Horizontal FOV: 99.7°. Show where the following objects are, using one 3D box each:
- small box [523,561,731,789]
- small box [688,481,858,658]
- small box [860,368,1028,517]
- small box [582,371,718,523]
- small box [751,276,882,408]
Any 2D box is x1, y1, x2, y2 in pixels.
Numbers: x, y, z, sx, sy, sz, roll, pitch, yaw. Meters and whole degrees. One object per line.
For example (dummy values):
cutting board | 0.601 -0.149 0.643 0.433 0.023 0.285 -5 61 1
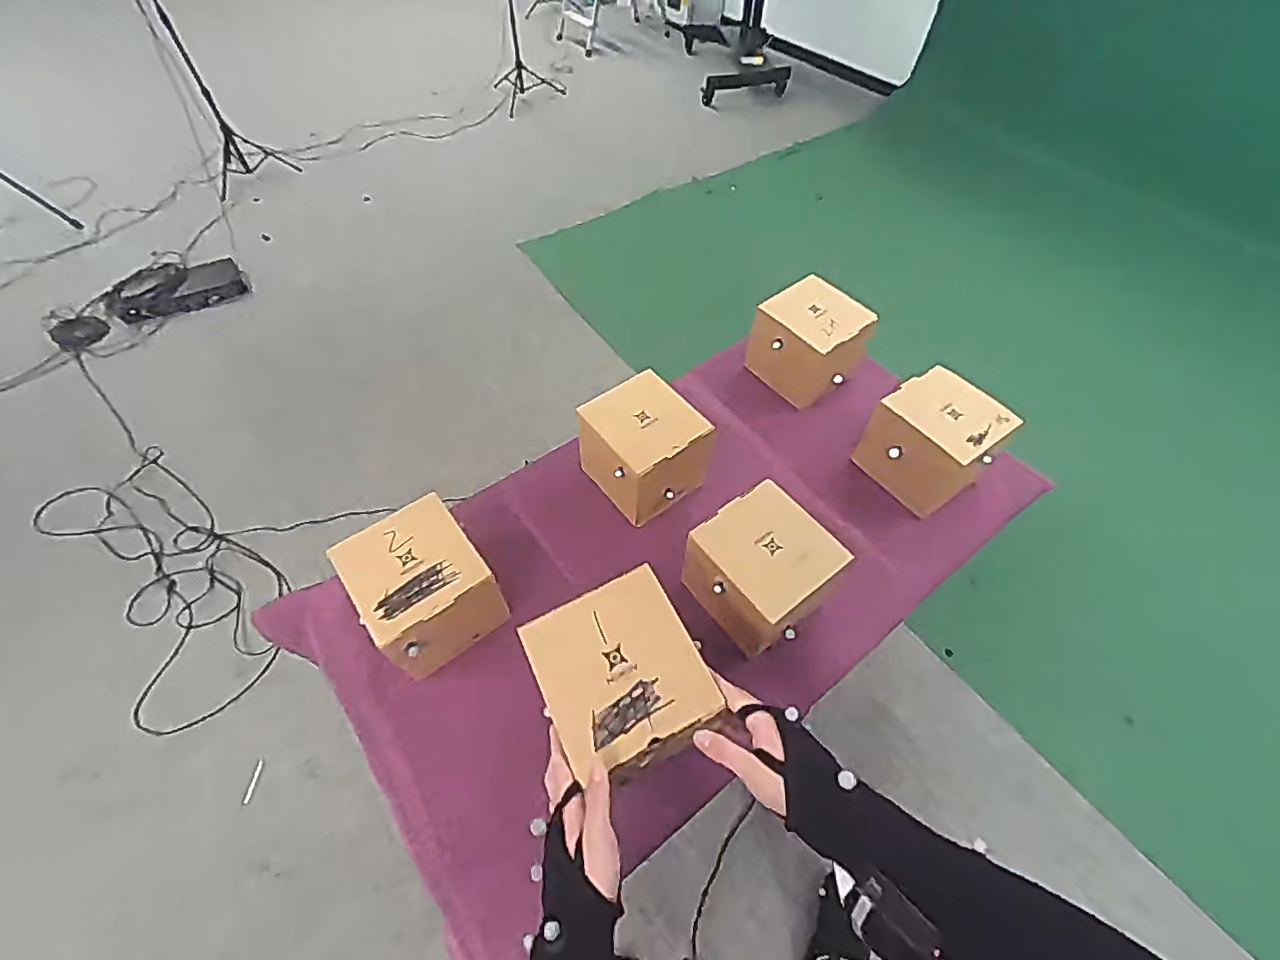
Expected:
small box | -0.012 0.227 0.623 0.168 0.176 0.179 -25 60 -10
small box | 0.189 0.141 0.832 0.168 0.176 0.179 -31 61 -20
small box | 0.536 -0.065 0.982 0.168 0.176 0.179 -30 58 -19
small box | 0.011 -0.056 0.966 0.168 0.176 0.179 -32 63 -22
small box | 0.355 -0.283 1.126 0.168 0.176 0.179 -33 63 -19
